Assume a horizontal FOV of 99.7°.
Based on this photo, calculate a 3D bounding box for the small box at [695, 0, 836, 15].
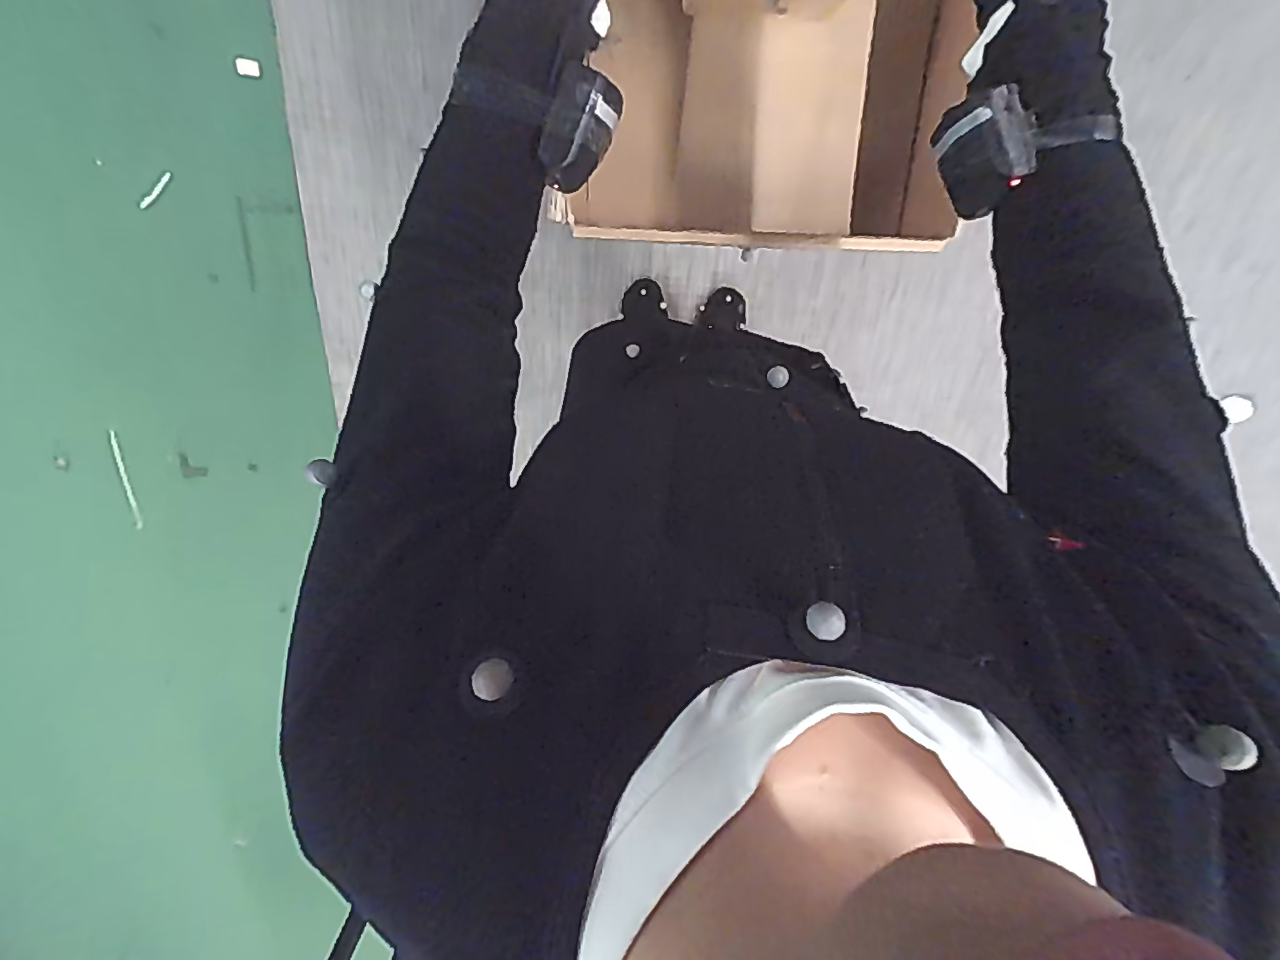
[{"bbox_3d":[0.125,-0.540,0.467,0.168,0.176,0.179,2,114,-1],"label":"small box"}]
